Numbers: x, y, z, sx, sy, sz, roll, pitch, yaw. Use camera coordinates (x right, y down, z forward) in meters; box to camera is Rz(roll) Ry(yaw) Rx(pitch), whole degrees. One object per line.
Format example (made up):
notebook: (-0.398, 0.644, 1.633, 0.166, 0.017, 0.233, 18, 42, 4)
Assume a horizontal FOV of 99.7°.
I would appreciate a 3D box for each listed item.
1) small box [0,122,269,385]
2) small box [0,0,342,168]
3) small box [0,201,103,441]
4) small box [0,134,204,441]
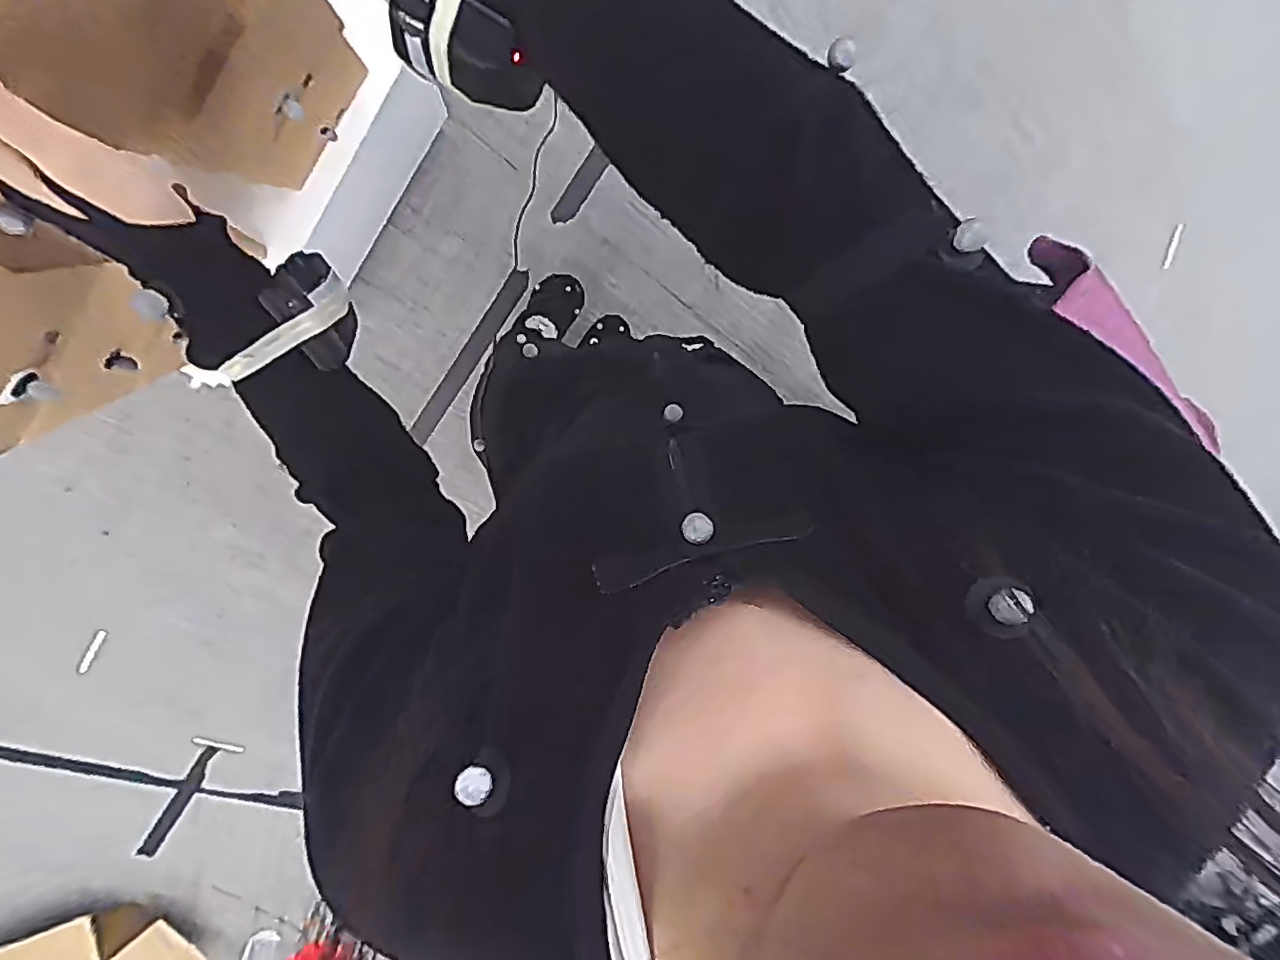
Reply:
small box: (-0.550, -0.232, 0.578, 0.179, 0.176, 0.168, 32, 104, -25)
small box: (-0.353, -0.354, 0.388, 0.179, 0.176, 0.168, 33, 102, -28)
small box: (-0.469, -0.099, 0.293, 0.179, 0.176, 0.168, 30, 105, -26)
small box: (-0.508, -0.165, 0.437, 0.179, 0.176, 0.168, 31, 103, -25)
